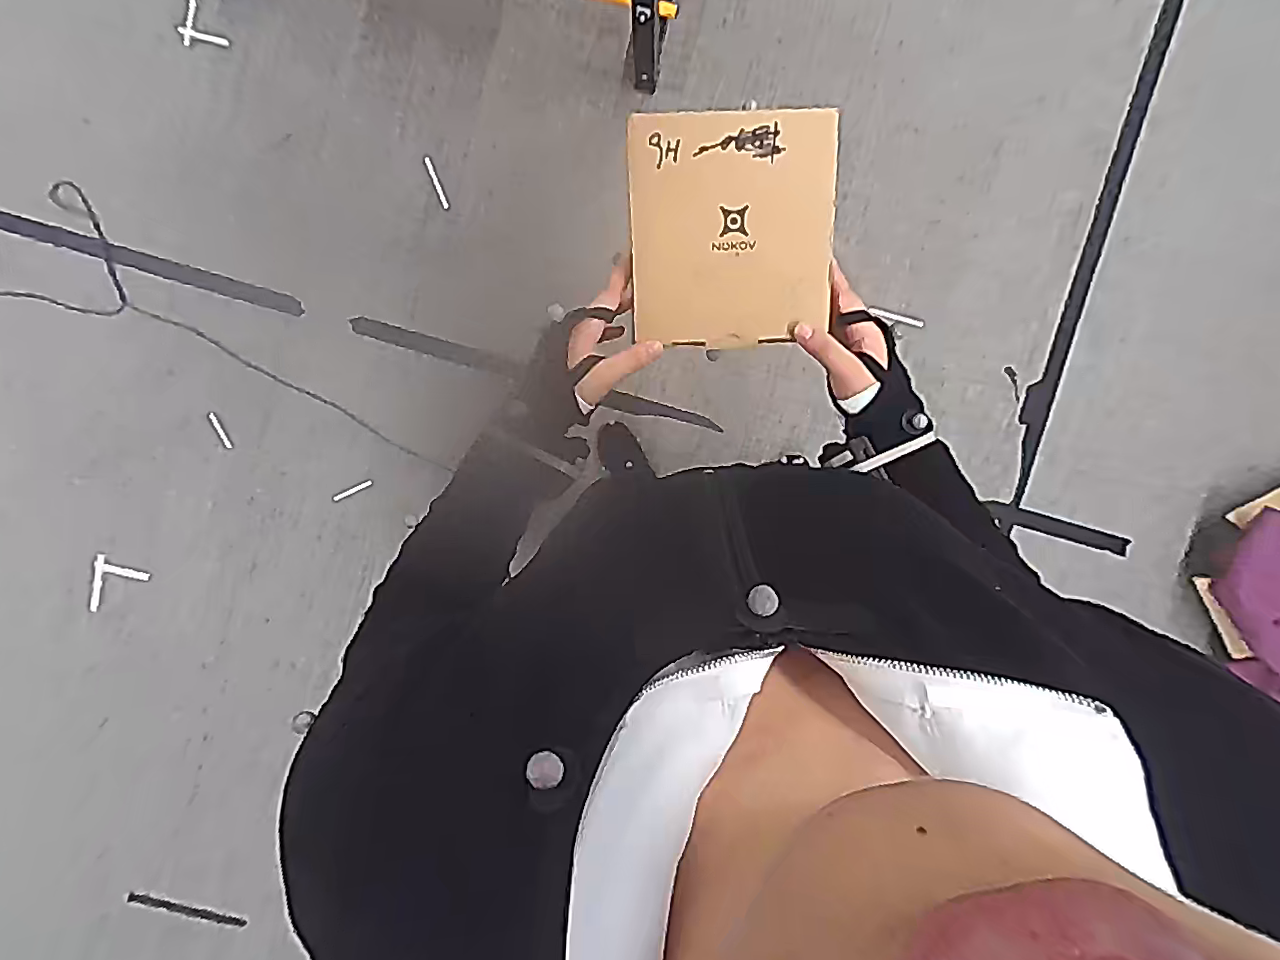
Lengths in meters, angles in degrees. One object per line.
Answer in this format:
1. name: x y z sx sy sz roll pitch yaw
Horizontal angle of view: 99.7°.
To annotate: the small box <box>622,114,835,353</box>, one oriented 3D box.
1. small box: 0.069 -0.218 0.514 0.168 0.176 0.179 -3 106 -1
